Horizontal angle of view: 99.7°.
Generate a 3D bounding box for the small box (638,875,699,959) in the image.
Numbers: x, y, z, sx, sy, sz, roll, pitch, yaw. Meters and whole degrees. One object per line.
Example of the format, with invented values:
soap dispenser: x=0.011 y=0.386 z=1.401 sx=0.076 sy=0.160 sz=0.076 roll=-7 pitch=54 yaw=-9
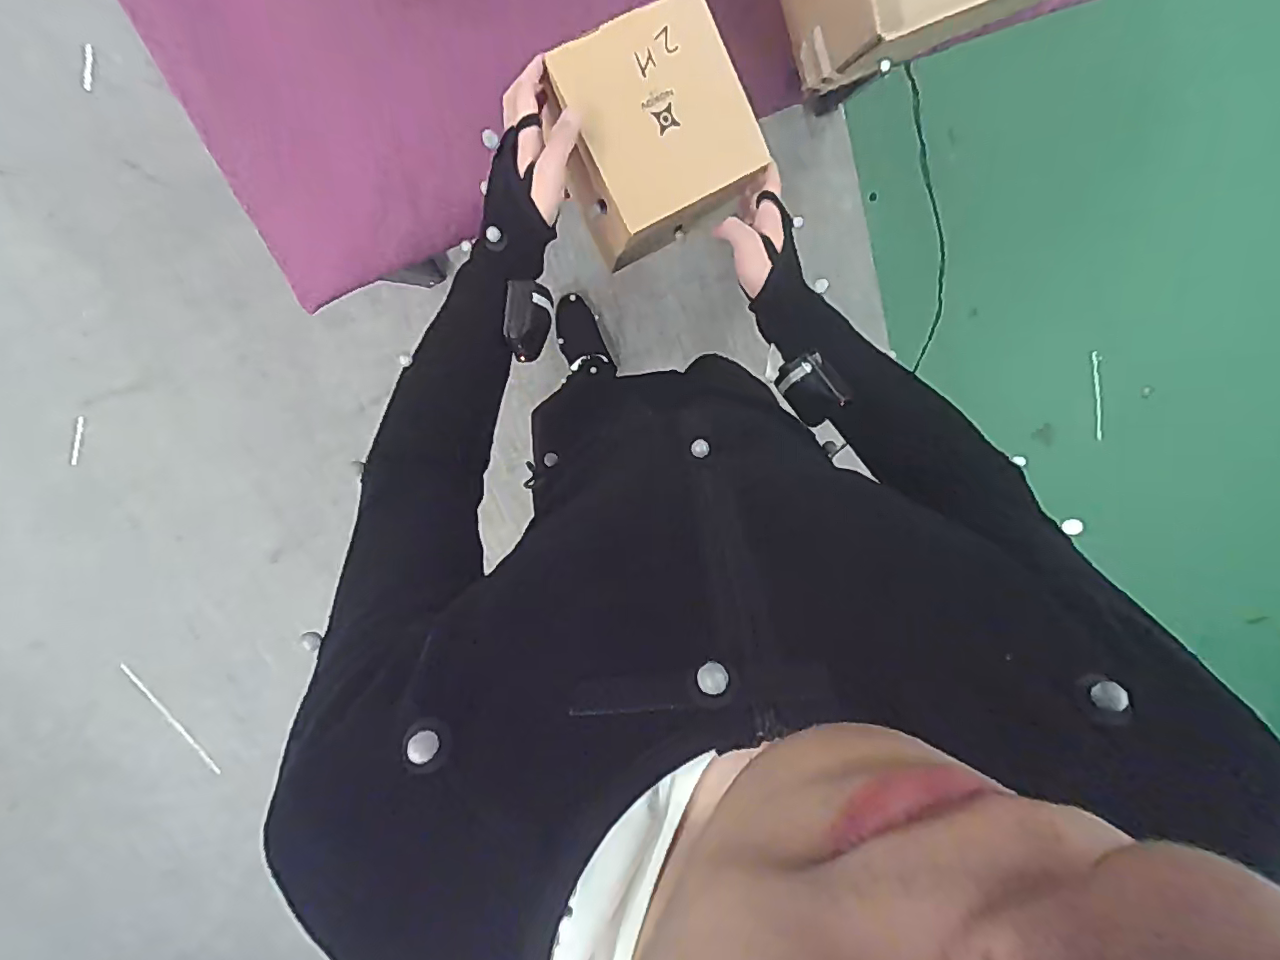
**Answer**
small box: x=0.086 y=1.402 z=1.710 sx=0.168 sy=0.176 sz=0.179 roll=-3 pitch=106 yaw=-7
